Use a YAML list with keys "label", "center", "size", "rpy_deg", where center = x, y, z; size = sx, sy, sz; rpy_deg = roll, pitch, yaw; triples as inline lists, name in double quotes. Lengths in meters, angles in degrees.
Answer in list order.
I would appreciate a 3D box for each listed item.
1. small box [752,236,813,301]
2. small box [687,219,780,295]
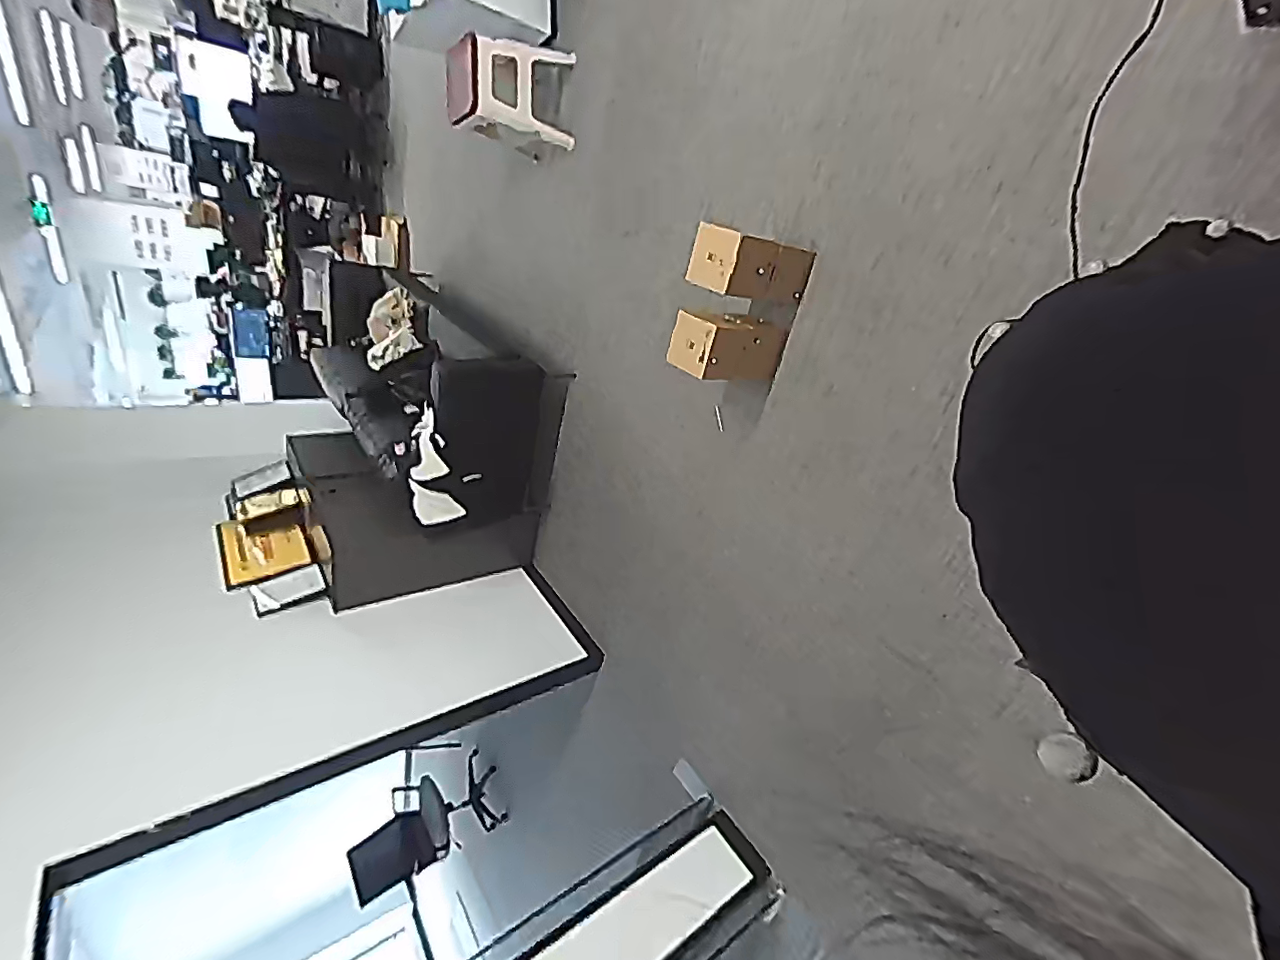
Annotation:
- label: "small box"
  center: [0.405, -0.661, 1.679]
  size: [0.179, 0.176, 0.168]
  rpy_deg: [40, 126, 41]
- label: "small box"
  center: [0.273, -0.647, 1.581]
  size: [0.179, 0.176, 0.168]
  rpy_deg: [40, 127, 40]
